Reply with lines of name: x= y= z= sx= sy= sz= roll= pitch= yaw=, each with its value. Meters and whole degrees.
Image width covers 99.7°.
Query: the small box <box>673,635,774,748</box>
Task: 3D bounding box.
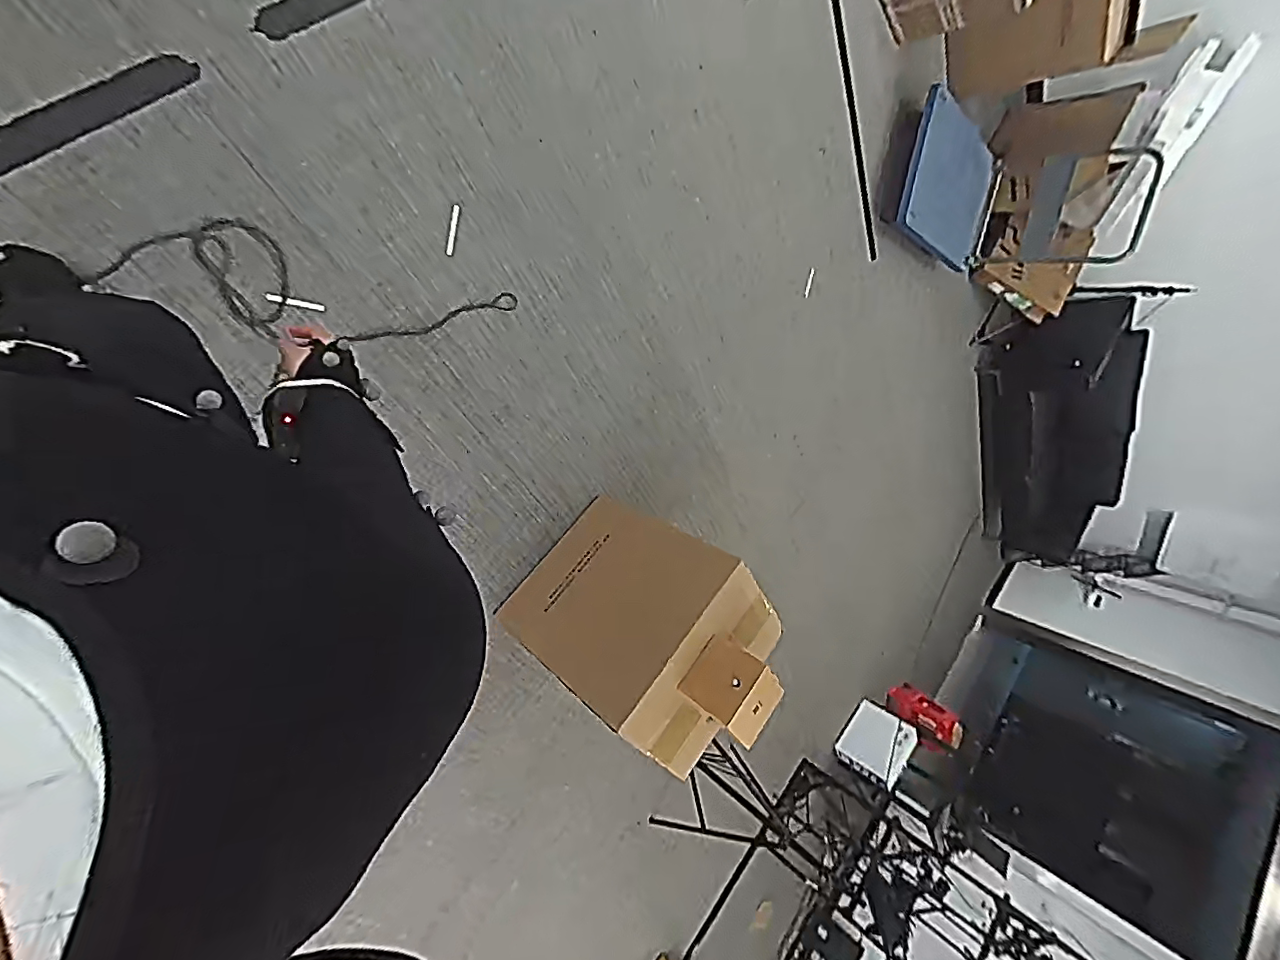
small box: x=0.206 y=0.533 z=1.373 sx=0.179 sy=0.176 sz=0.168 roll=-50 pitch=133 yaw=-19
